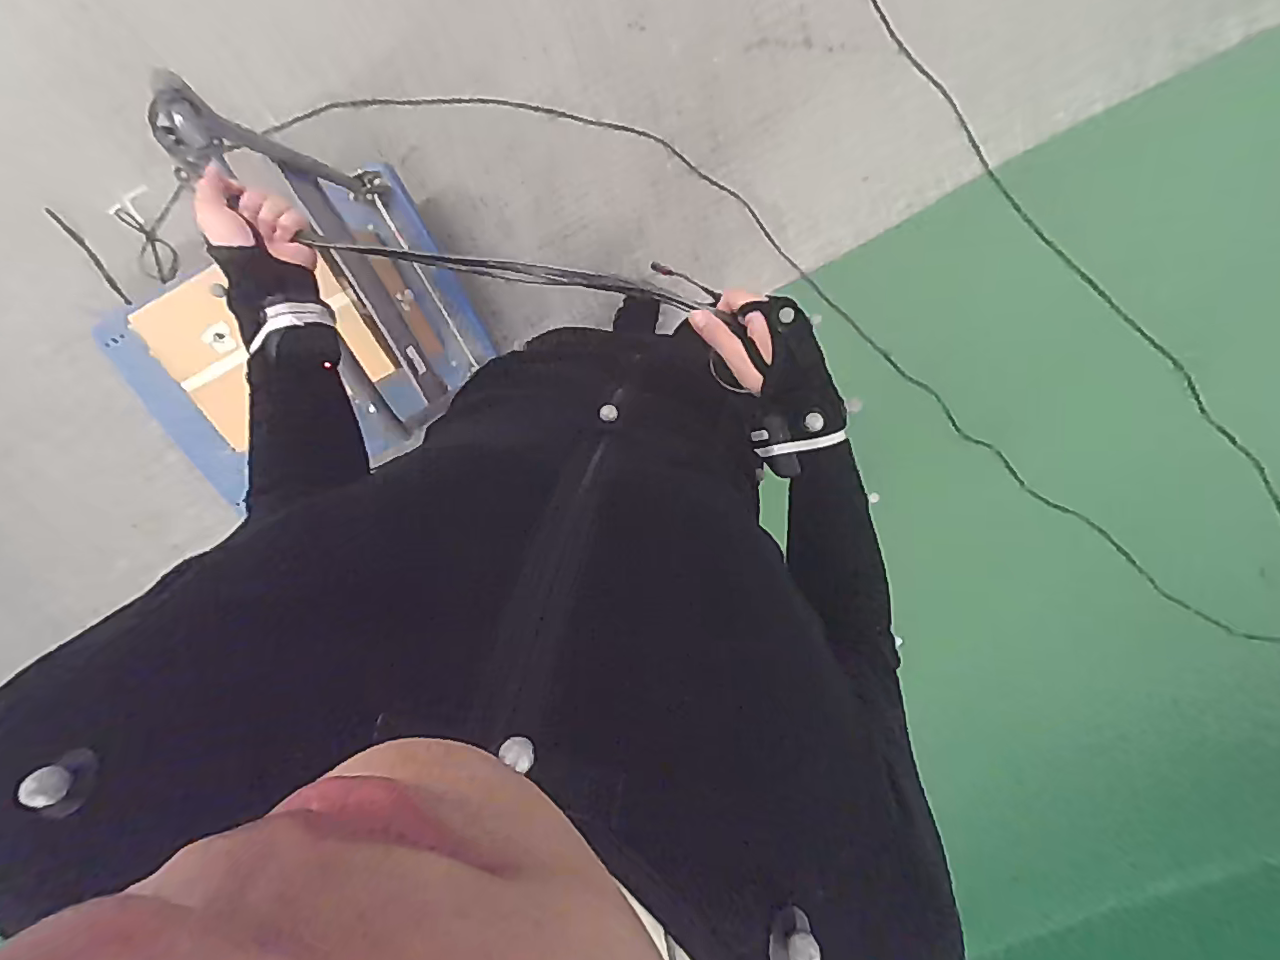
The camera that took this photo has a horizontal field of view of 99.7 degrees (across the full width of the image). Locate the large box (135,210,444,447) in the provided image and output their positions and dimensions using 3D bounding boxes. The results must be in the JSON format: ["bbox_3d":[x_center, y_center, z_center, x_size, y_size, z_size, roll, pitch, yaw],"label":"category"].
[{"bbox_3d":[-0.721,-0.332,1.184,0.408,0.320,0.320,-25,109,9],"label":"large box"}]
